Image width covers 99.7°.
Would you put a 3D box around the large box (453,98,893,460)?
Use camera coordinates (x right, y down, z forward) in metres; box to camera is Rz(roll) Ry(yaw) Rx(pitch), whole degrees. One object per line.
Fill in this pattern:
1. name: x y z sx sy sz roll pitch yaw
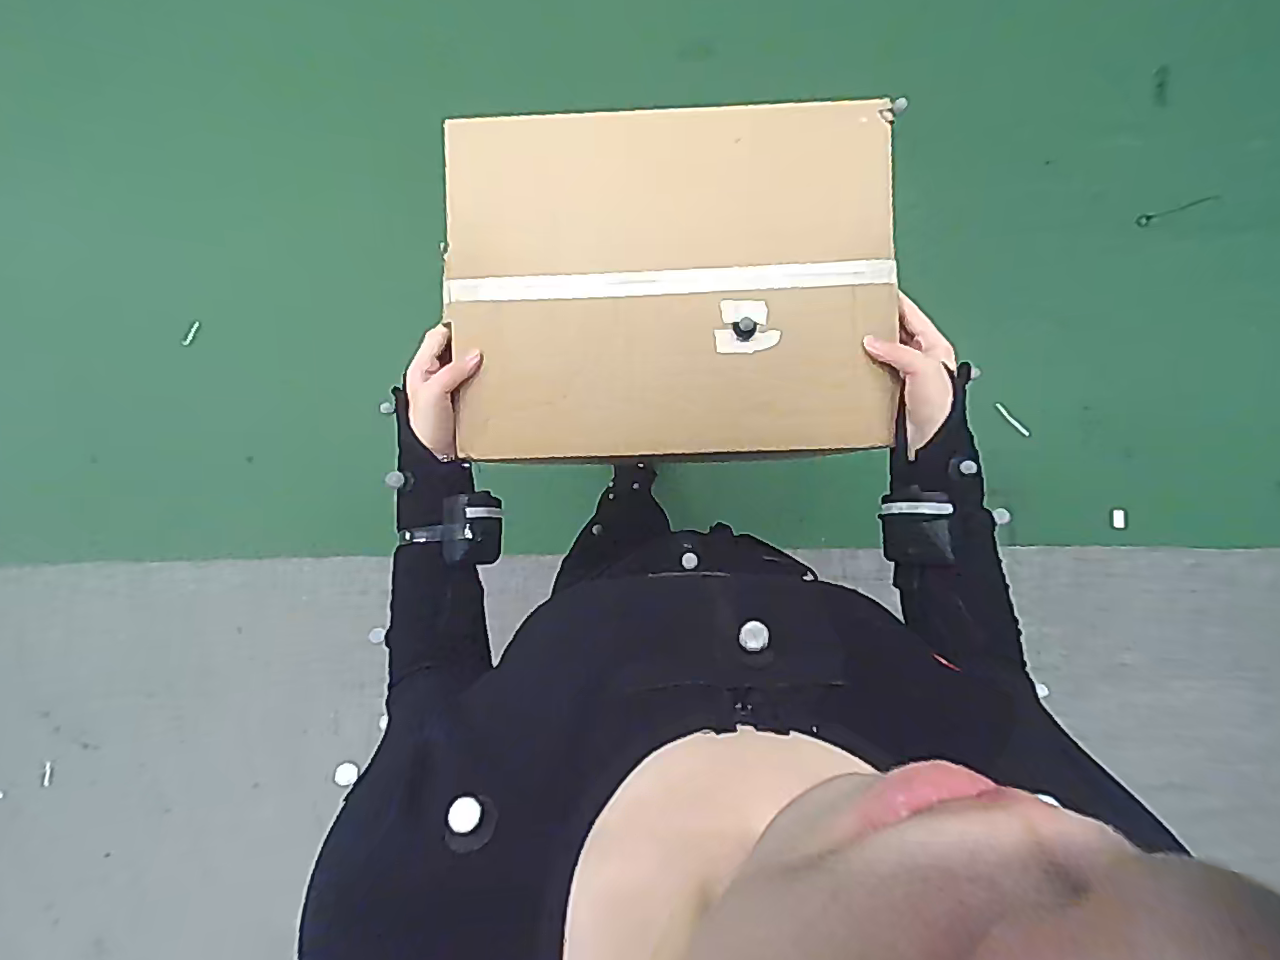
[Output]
1. large box: 0.030 -0.191 0.648 0.408 0.320 0.320 -2 91 0
